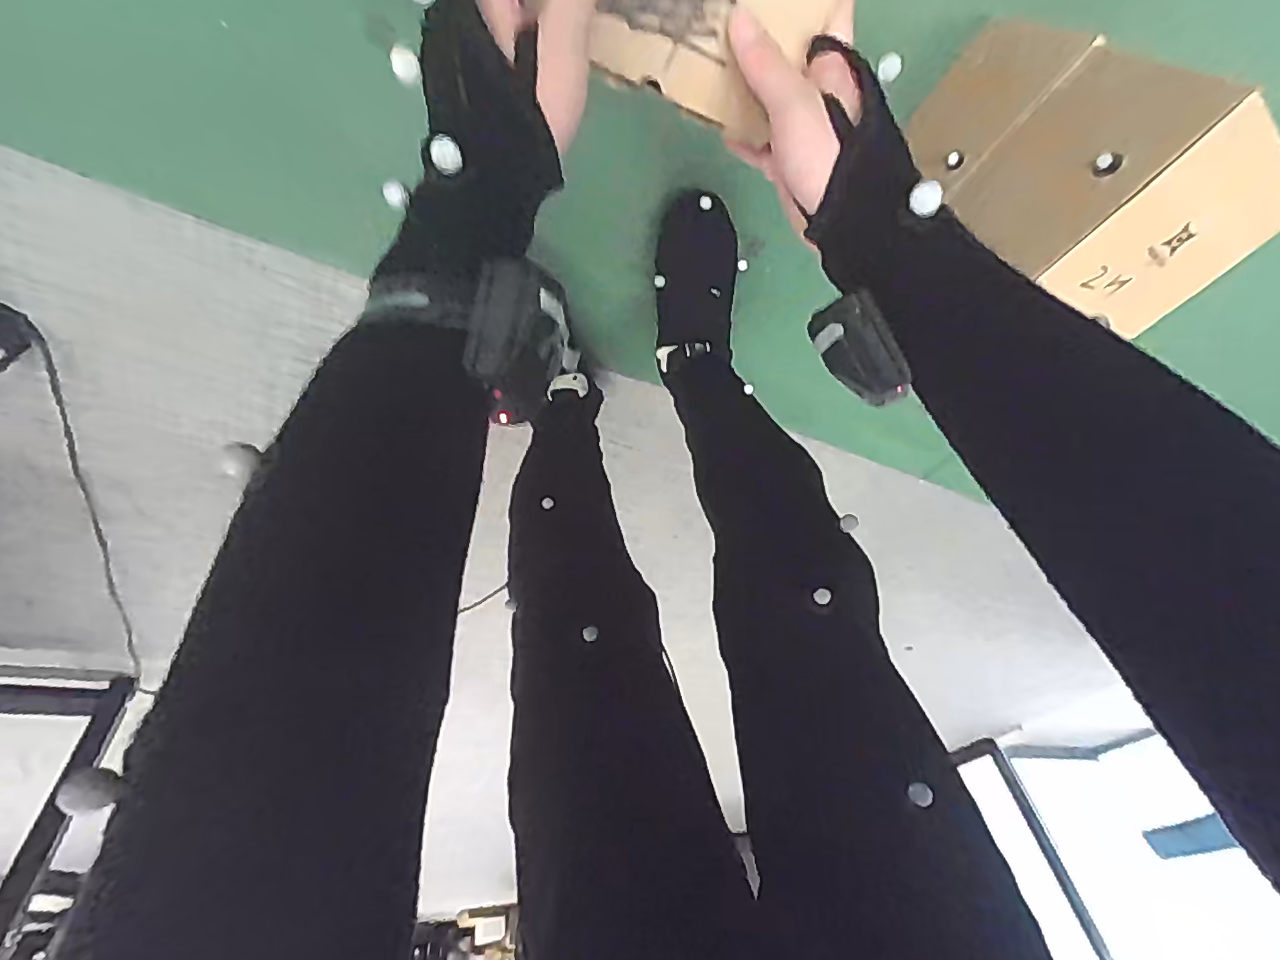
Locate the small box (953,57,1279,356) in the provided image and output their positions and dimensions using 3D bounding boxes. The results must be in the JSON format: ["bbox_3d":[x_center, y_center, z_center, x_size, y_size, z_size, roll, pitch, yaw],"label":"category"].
[{"bbox_3d":[0.458,-0.263,0.528,0.168,0.176,0.179,20,131,-28],"label":"small box"}]

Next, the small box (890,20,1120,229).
[{"bbox_3d":[0.438,-0.387,0.634,0.168,0.176,0.179,18,132,-27],"label":"small box"}]

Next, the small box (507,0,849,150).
[{"bbox_3d":[0.025,-0.330,0.301,0.168,0.176,0.179,7,133,-24],"label":"small box"}]
